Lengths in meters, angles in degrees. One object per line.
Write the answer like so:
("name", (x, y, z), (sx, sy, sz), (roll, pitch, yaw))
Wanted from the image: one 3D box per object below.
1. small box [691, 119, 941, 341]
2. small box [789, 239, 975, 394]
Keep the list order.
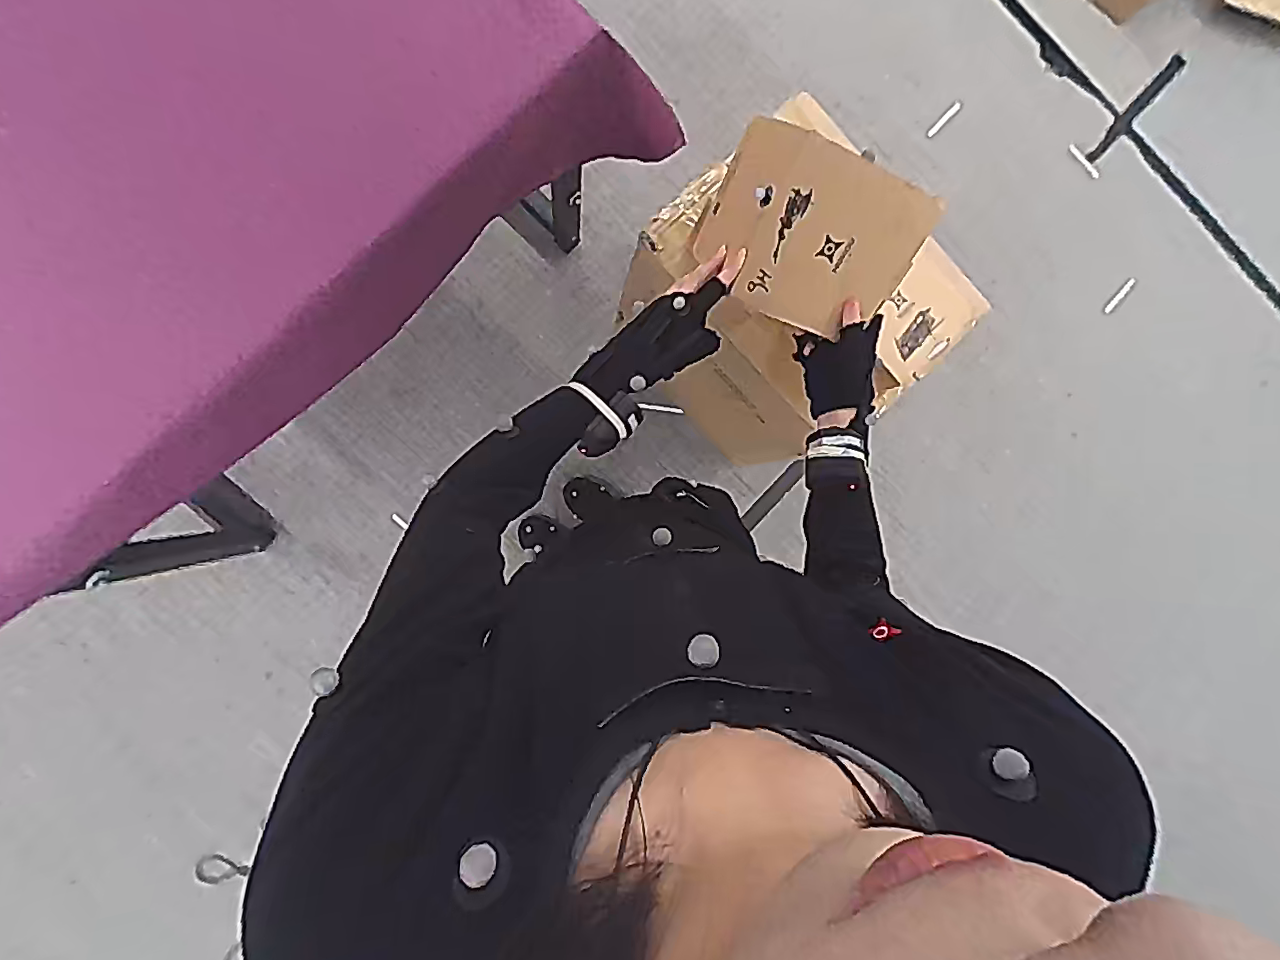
("small box", (0.183, -0.287, 0.616), (0.179, 0.176, 0.168), (12, 123, -21))
("small box", (0.376, -0.256, 0.869), (0.168, 0.176, 0.179), (-42, 92, -5))
